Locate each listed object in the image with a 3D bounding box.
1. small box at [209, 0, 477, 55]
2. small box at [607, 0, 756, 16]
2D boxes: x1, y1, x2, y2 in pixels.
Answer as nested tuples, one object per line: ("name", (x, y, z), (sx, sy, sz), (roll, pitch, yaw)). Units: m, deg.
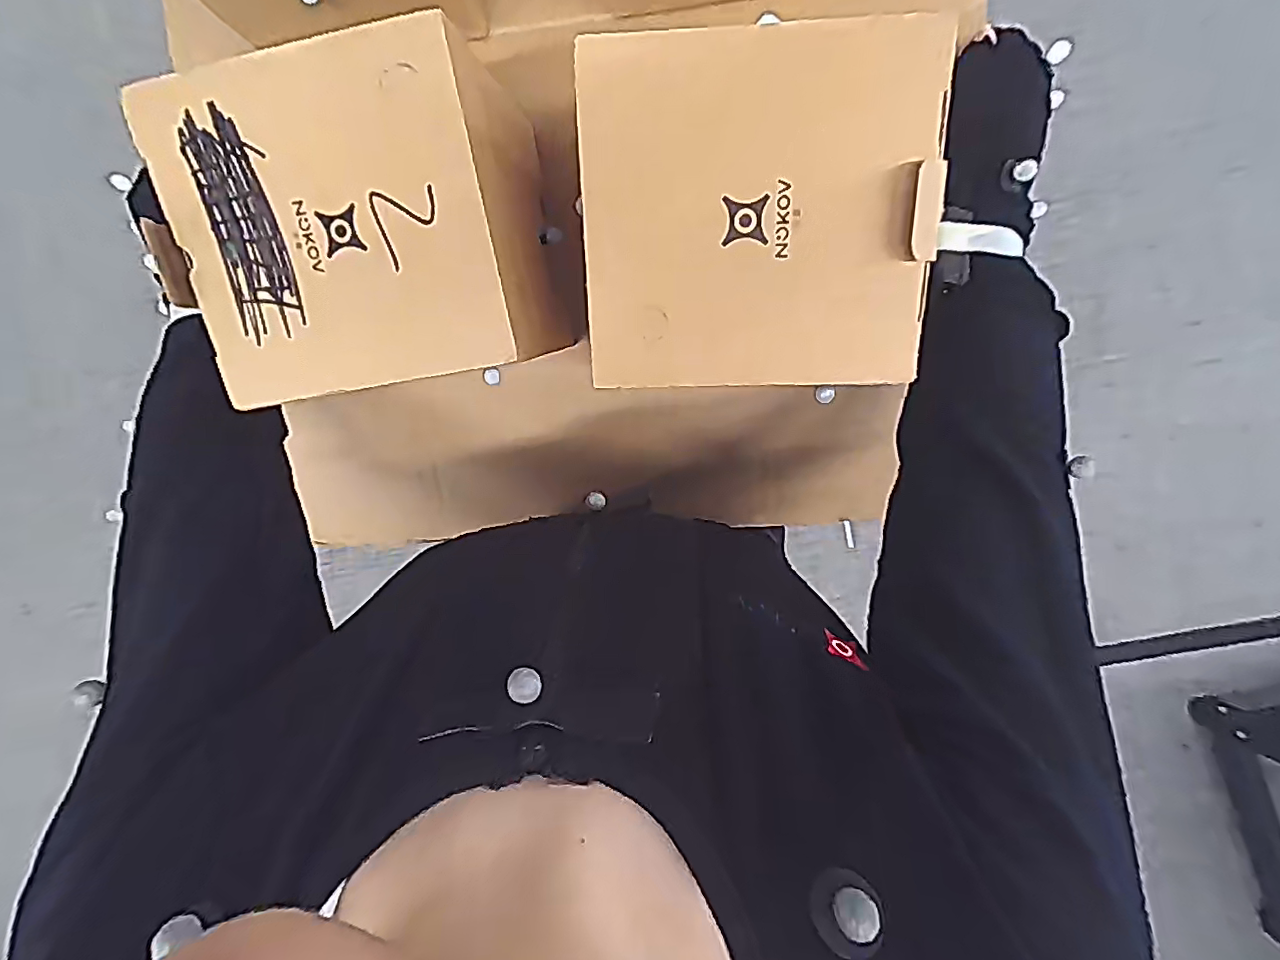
("small box", (-0.211, -0.395, 0.321), (0.168, 0.176, 0.179), (-5, 97, 6))
("small box", (0.050, -0.407, 0.295), (0.179, 0.176, 0.168), (-3, 98, 6))
